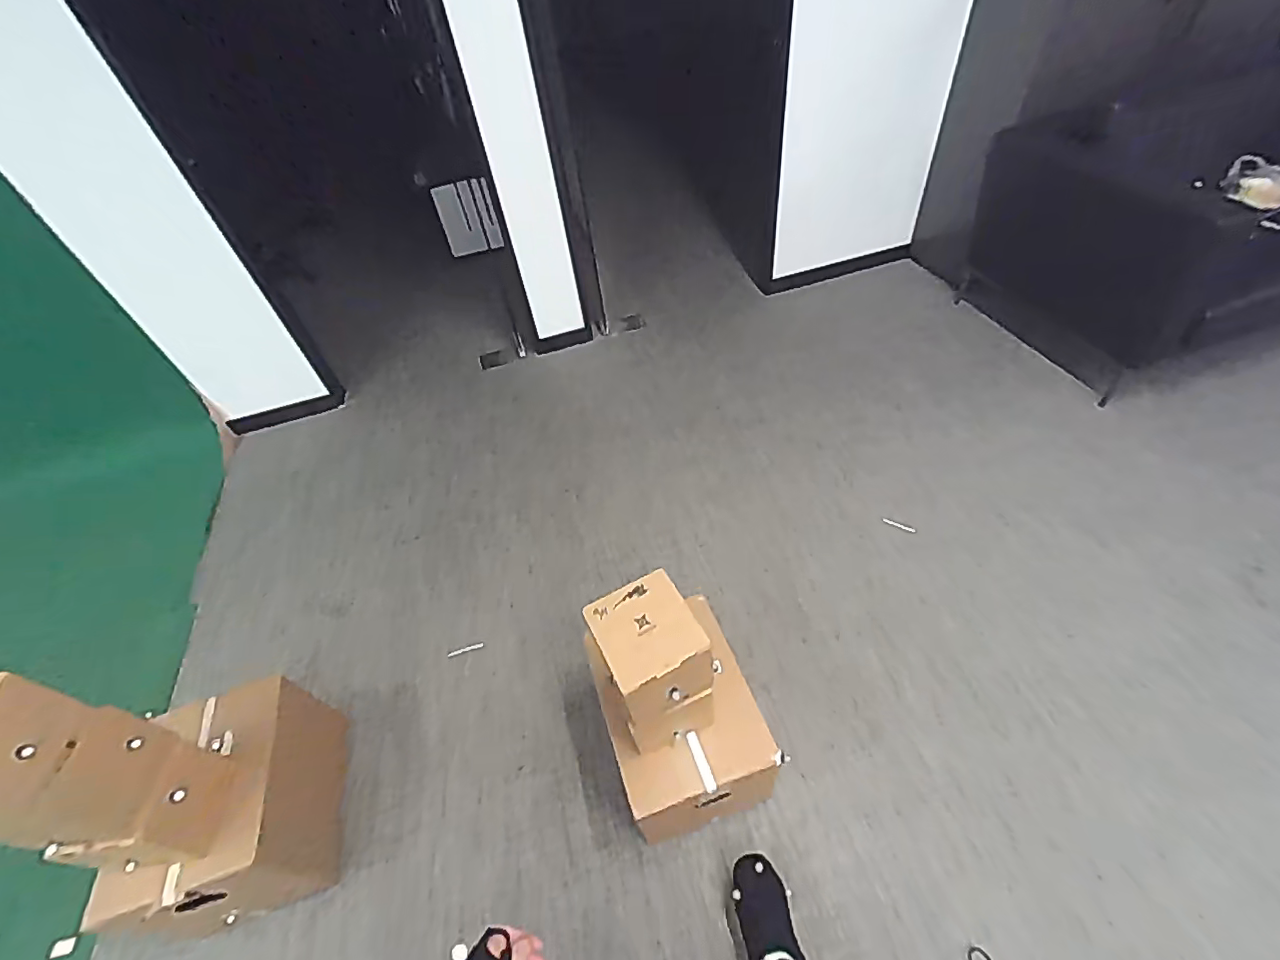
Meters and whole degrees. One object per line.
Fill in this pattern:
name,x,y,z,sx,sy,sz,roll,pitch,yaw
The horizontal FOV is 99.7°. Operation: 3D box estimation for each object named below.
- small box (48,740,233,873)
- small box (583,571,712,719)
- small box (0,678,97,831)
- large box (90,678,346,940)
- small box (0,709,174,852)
small box,-0.935,0.628,1.039,0.168,0.176,0.179,-10,48,0
small box,0.019,0.303,0.969,0.168,0.176,0.179,-25,50,-12
small box,-0.989,0.412,0.799,0.179,0.176,0.168,-7,47,3
large box,-0.918,0.753,1.252,0.320,0.320,0.408,-18,47,-8
small box,-0.961,0.515,0.925,0.168,0.176,0.179,-8,49,3
